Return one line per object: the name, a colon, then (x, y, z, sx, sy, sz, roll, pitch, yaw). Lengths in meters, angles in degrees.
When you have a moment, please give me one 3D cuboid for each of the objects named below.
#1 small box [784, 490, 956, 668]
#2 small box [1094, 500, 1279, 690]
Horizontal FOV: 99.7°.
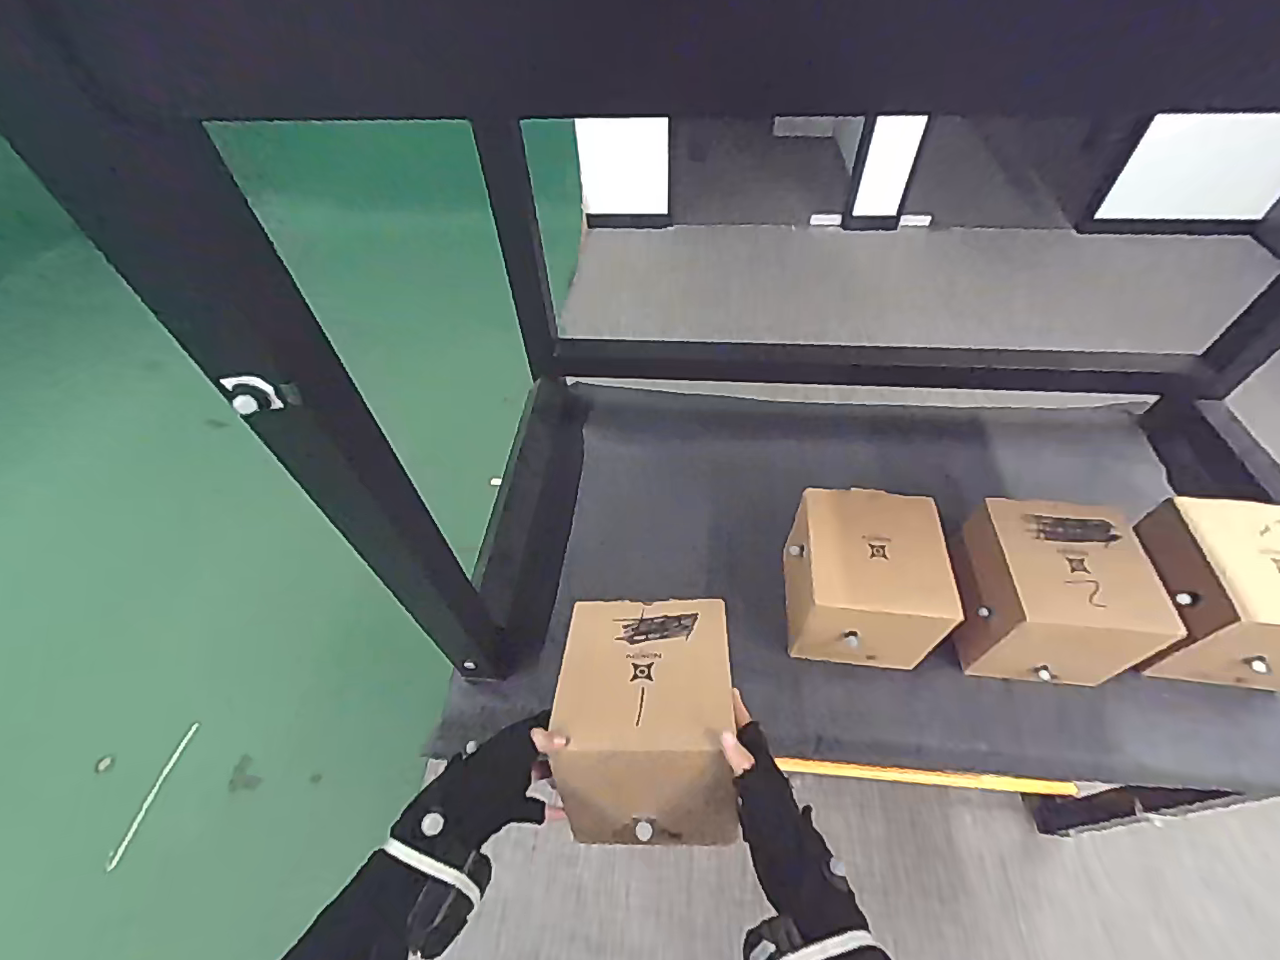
small box: (0.291, 0.136, 0.727, 0.168, 0.176, 0.179, 4, 51, 7)
small box: (0.742, 0.150, 0.691, 0.168, 0.176, 0.179, 6, 51, 7)
